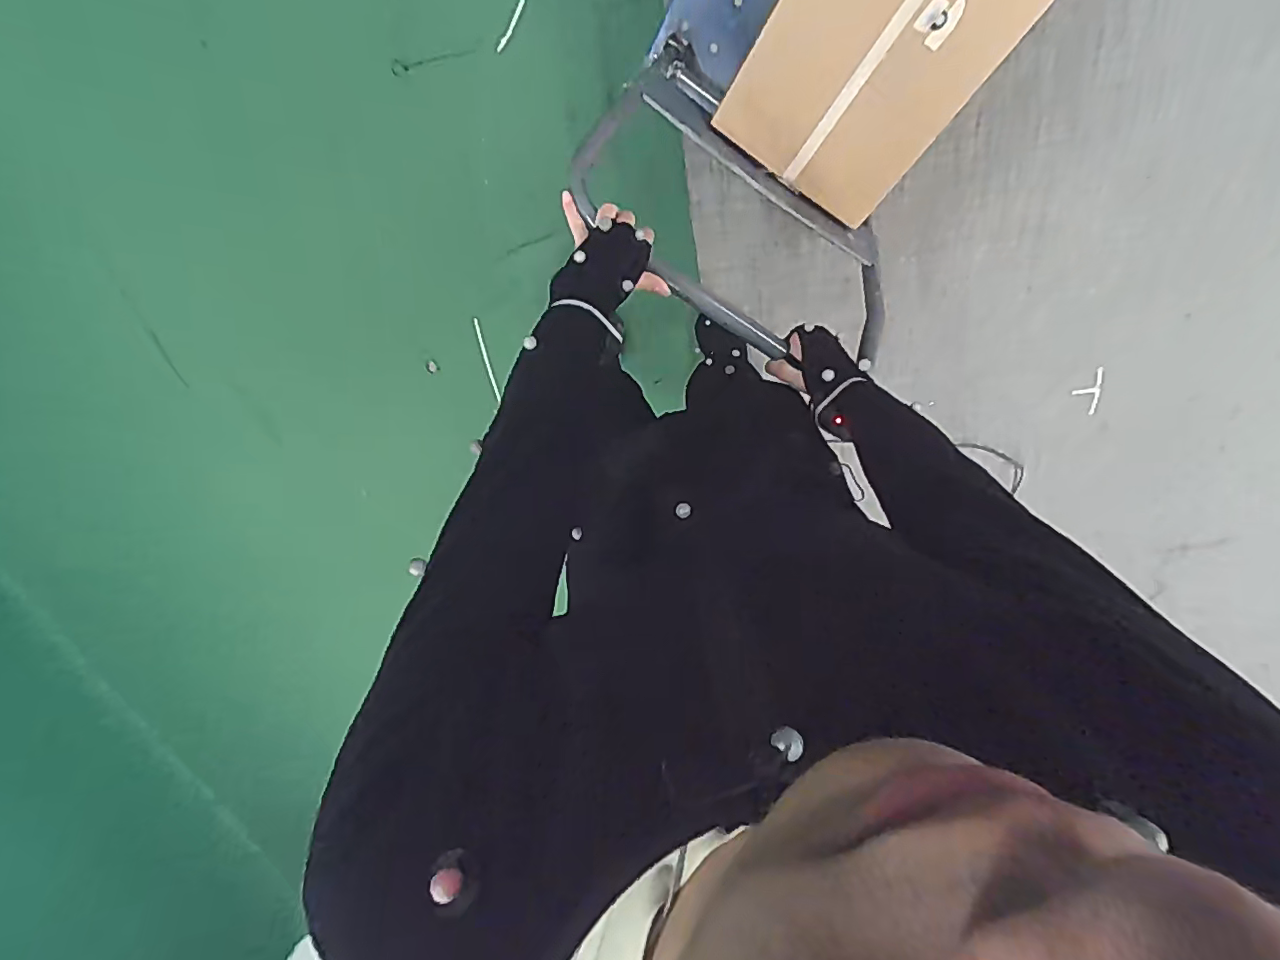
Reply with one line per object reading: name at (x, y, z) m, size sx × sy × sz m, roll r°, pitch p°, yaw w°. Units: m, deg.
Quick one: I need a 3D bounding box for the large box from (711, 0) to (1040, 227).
large box at (0.369, -0.731, 0.911) m, size 0.320 × 0.320 × 0.408 m, roll 29°, pitch 133°, yaw -13°
